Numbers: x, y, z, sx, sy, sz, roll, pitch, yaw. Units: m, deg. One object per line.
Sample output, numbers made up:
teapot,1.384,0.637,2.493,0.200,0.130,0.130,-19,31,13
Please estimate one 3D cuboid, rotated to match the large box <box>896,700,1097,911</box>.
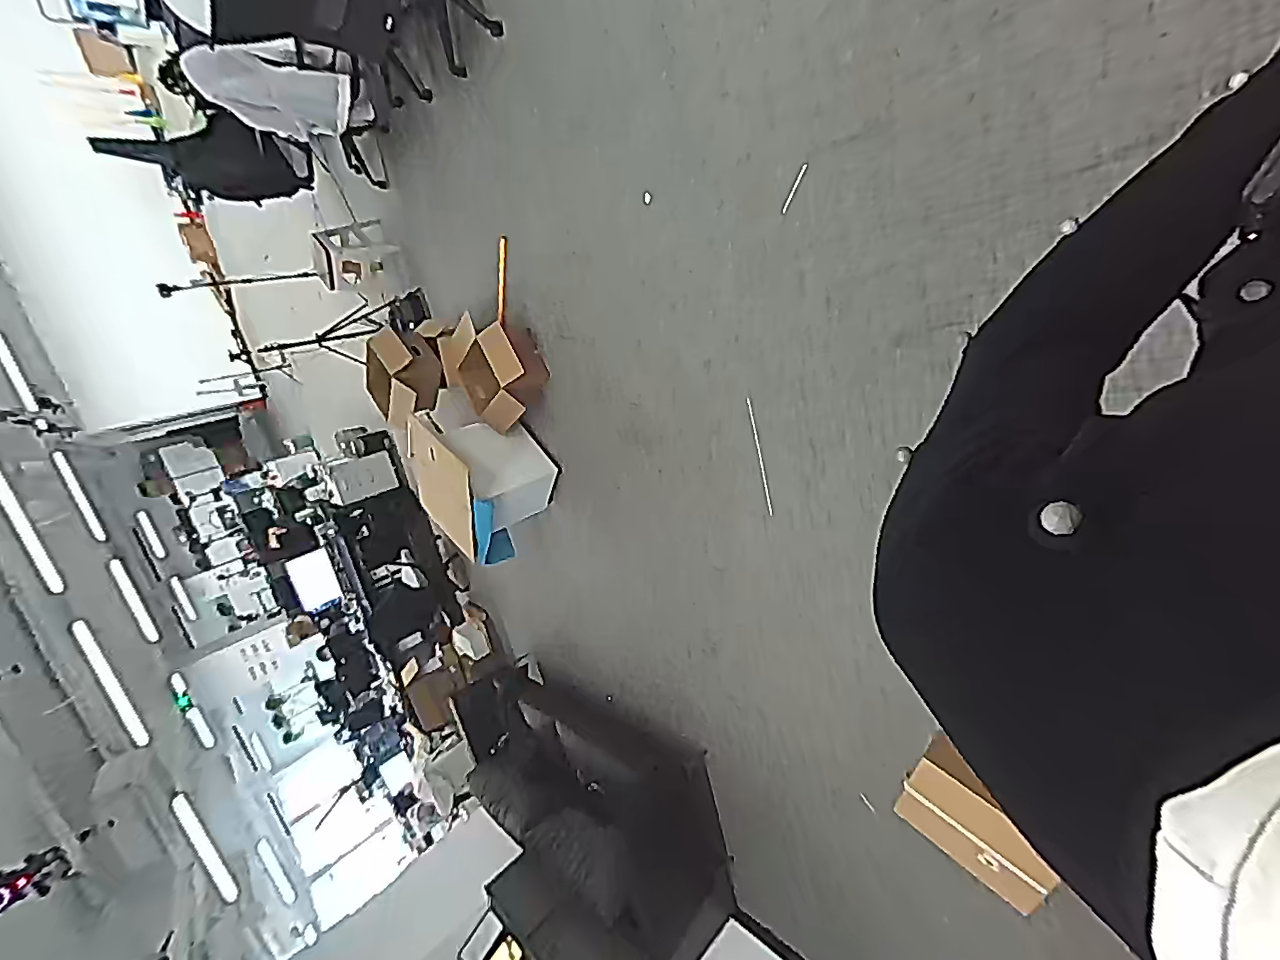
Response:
large box,1.096,0.988,1.689,0.408,0.320,0.320,30,131,35
